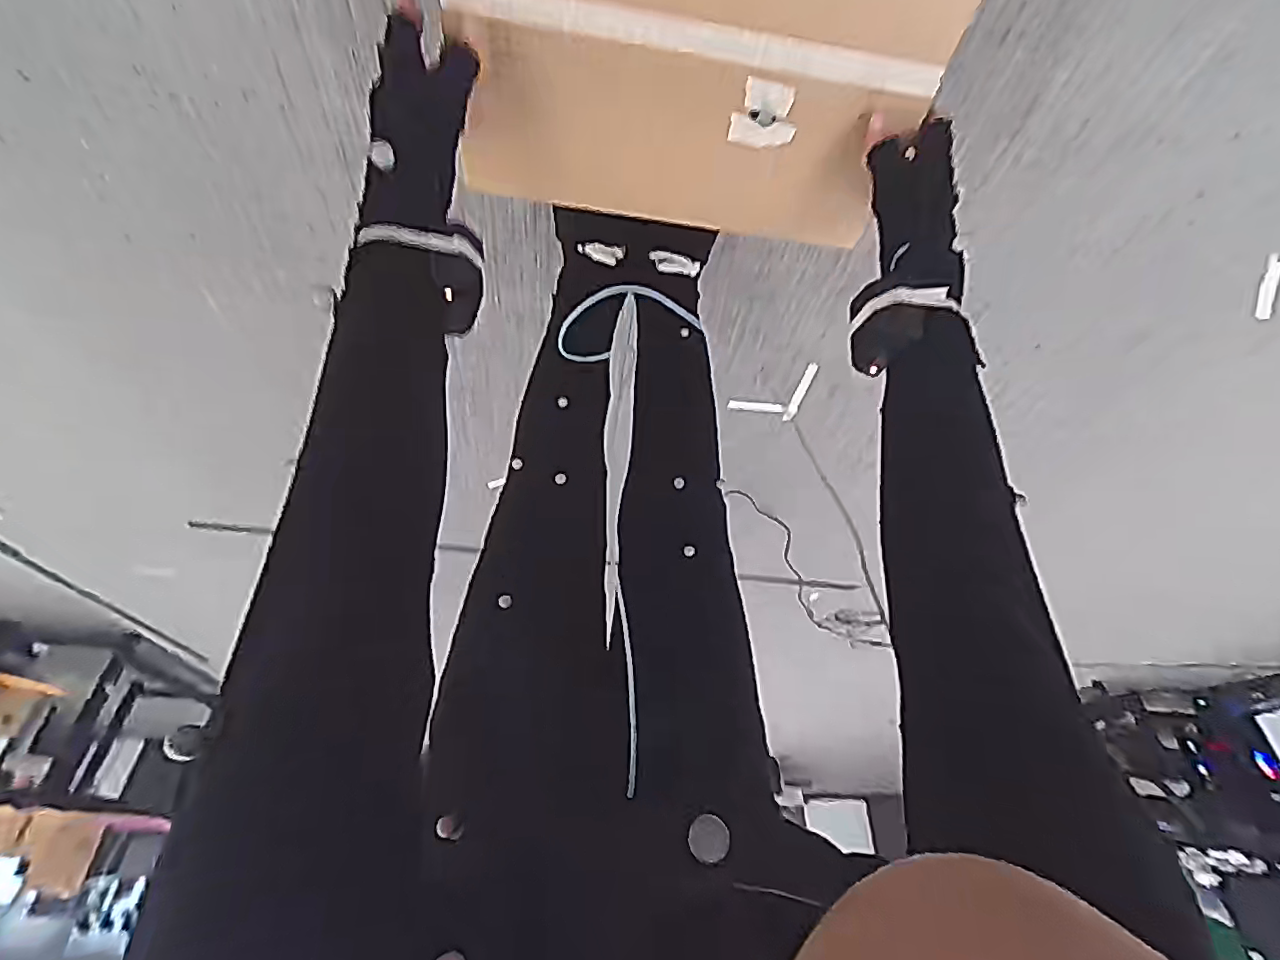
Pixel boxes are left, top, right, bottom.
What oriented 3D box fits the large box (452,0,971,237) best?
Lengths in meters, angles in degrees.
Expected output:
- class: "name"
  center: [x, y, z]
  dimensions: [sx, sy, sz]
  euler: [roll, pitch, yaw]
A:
- class: "large box"
  center: [0.052, -0.484, 0.517]
  dimensions: [0.408, 0.320, 0.320]
  euler: [6, 146, -6]
